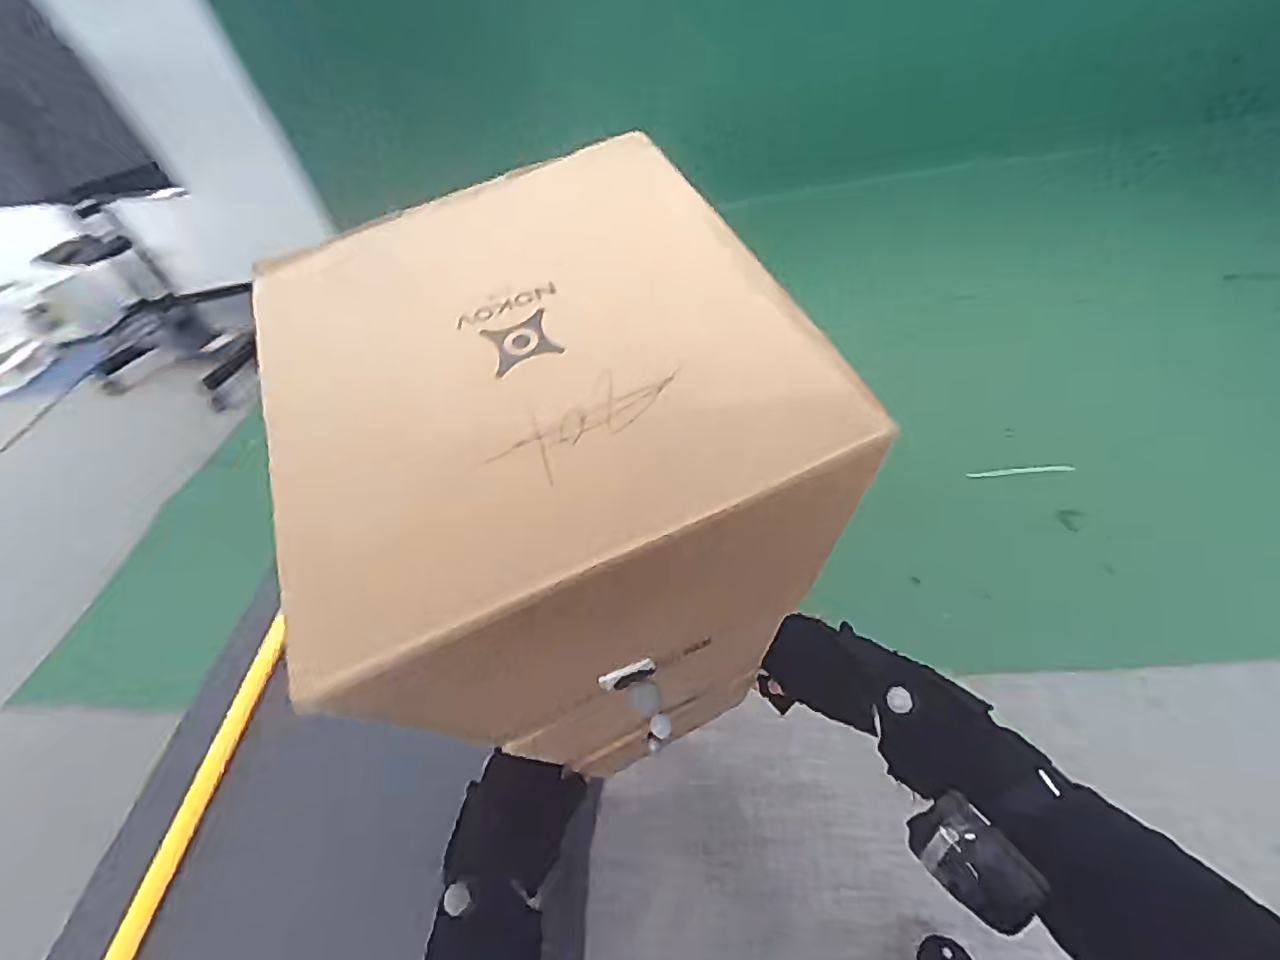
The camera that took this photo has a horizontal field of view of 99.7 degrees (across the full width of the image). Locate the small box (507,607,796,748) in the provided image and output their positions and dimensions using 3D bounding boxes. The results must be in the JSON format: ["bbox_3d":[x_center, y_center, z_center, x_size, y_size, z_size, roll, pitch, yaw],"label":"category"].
[{"bbox_3d":[-0.015,0.071,0.393,0.168,0.176,0.179,-23,61,-7],"label":"small box"}]

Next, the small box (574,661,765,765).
[{"bbox_3d":[0.001,0.157,0.533,0.168,0.176,0.179,-24,60,-7],"label":"small box"}]
